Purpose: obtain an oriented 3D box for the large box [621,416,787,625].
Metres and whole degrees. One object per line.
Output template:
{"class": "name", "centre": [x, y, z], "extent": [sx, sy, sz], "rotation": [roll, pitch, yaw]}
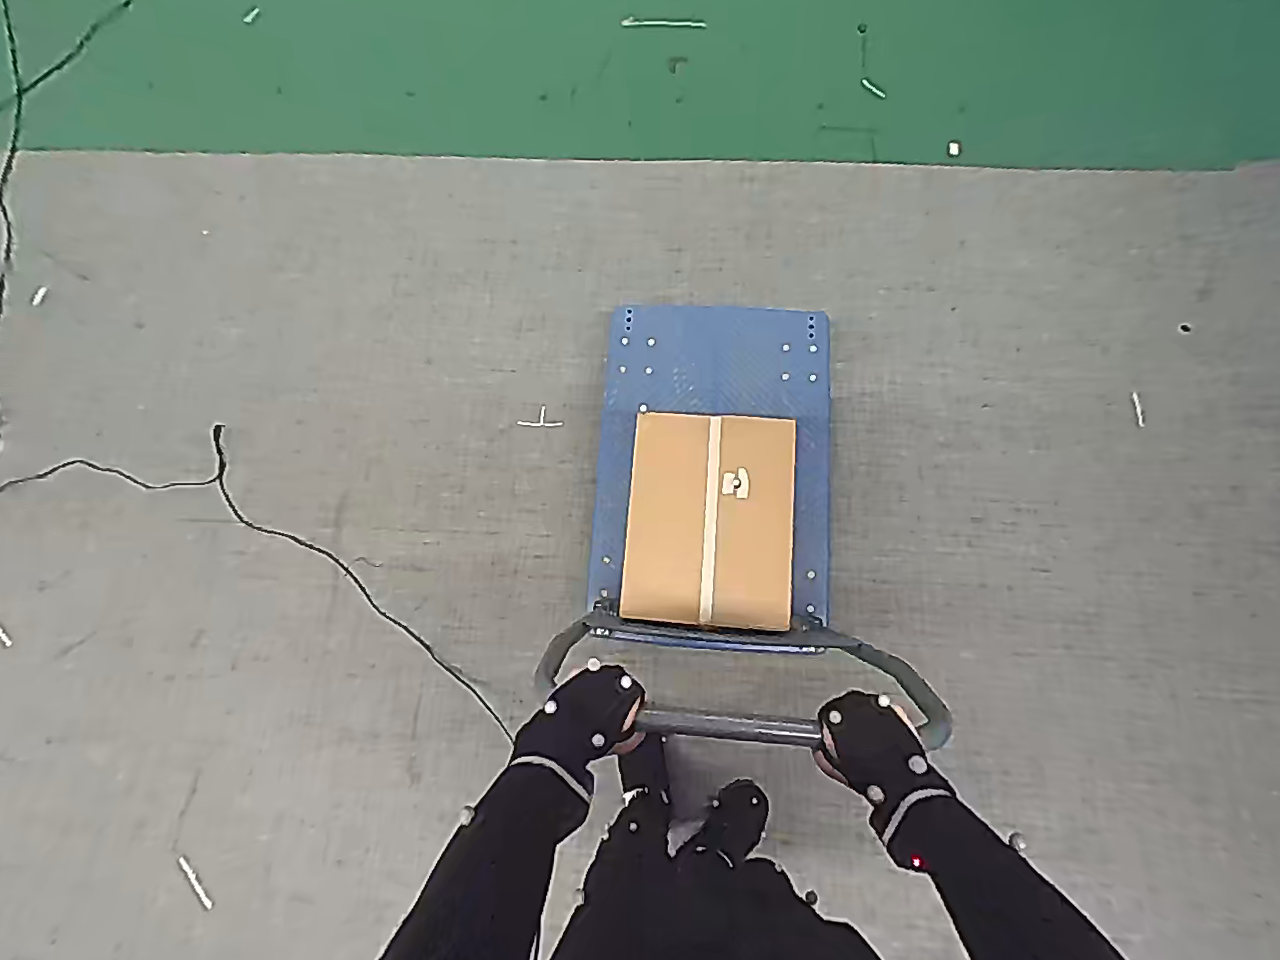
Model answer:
{"class": "large box", "centre": [0.140, 0.105, 1.196], "extent": [0.320, 0.320, 0.408], "rotation": [4, 77, 4]}
